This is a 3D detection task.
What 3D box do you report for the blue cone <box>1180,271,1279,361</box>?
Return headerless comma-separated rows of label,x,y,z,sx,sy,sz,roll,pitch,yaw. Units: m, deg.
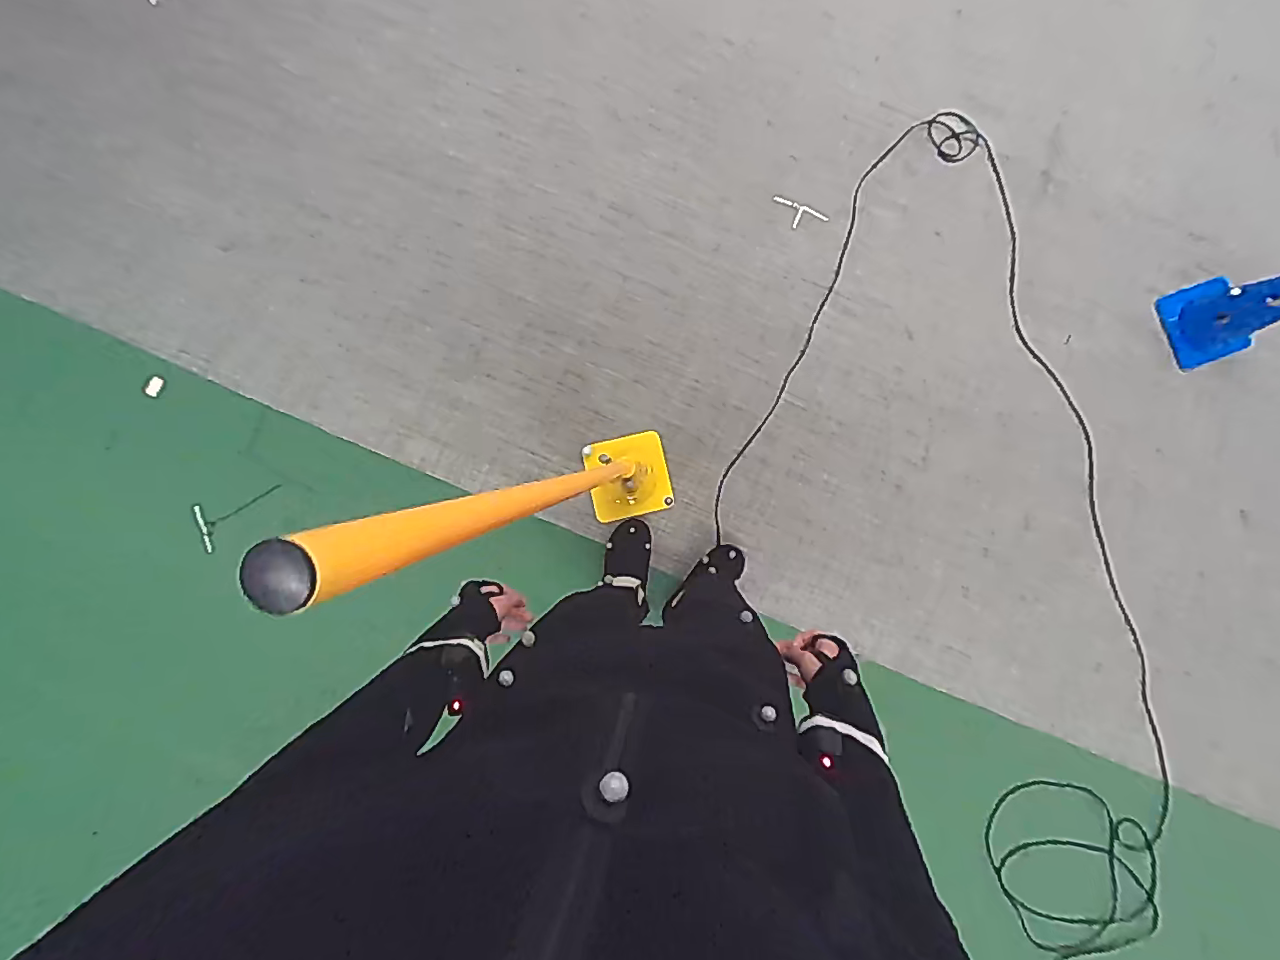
blue cone,1.445,-0.418,1.169,0.193,0.380,0.192,-22,88,-2
